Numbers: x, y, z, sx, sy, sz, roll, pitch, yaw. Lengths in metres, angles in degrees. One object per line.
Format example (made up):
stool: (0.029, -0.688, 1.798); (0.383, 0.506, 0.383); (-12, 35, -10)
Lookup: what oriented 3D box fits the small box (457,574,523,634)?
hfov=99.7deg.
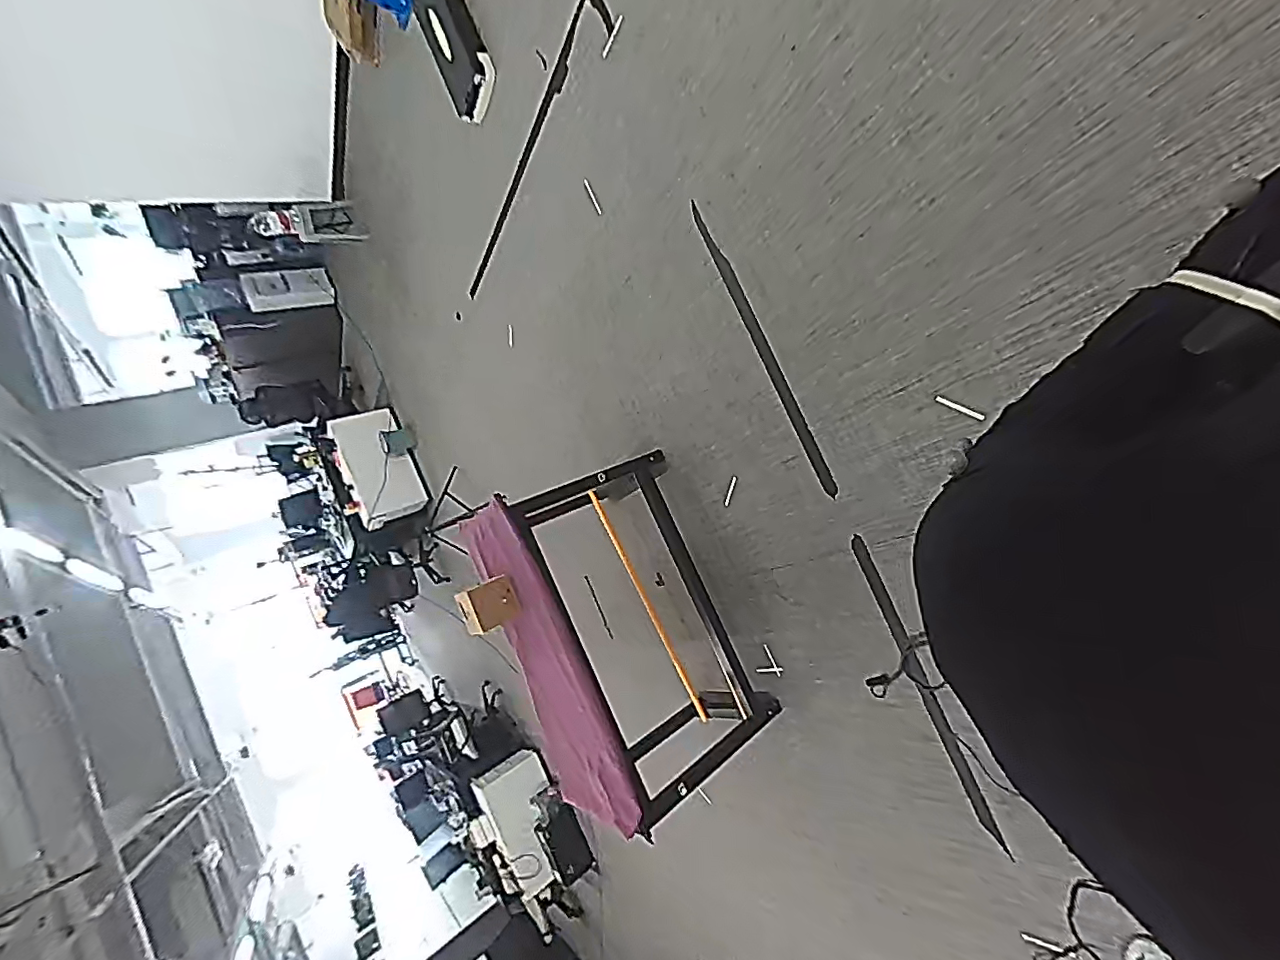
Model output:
small box: (-0.565, 0.468, 2.044); (0.179, 0.176, 0.168); (-25, 87, 55)
